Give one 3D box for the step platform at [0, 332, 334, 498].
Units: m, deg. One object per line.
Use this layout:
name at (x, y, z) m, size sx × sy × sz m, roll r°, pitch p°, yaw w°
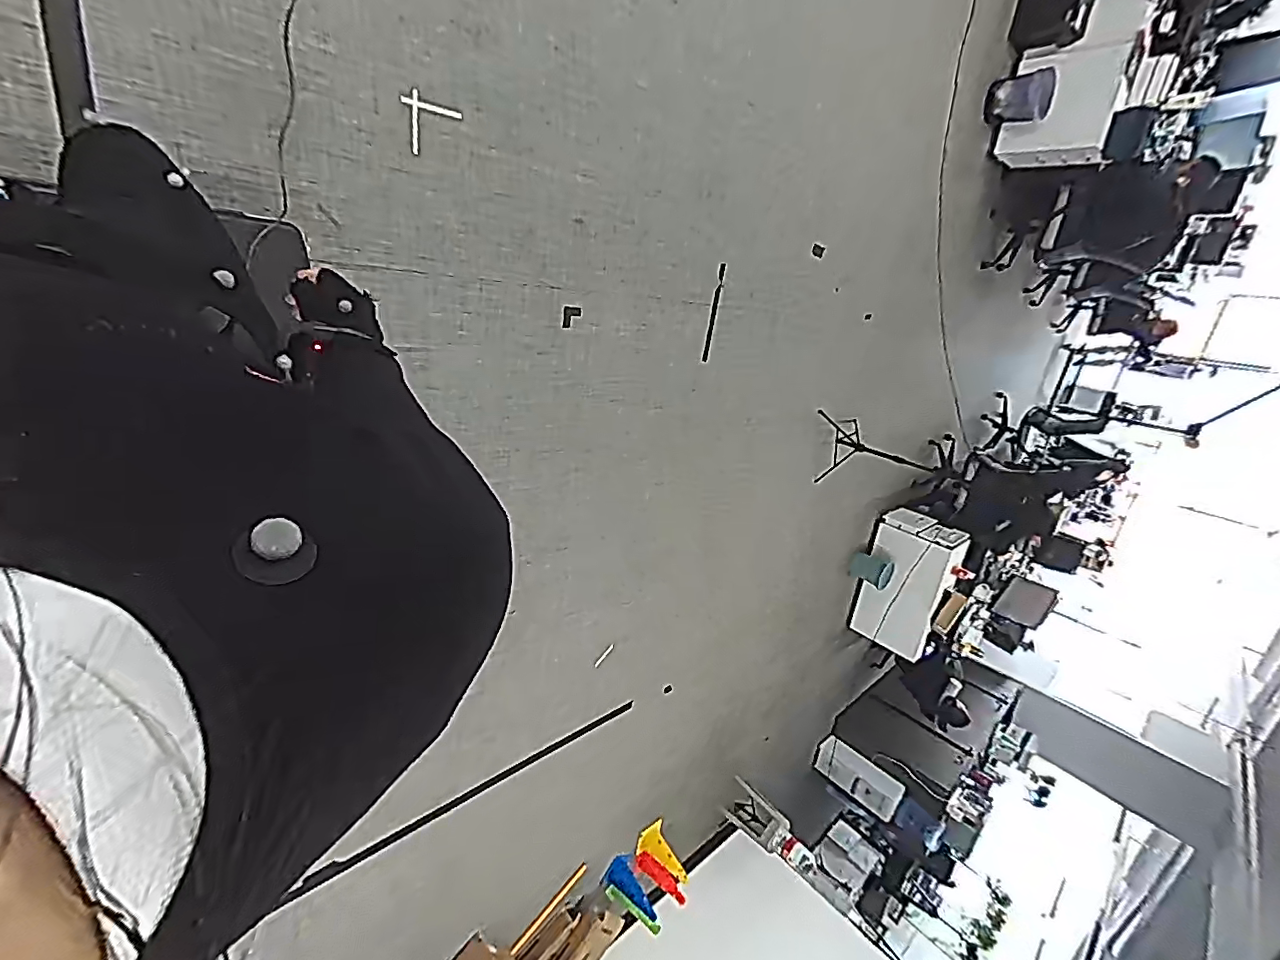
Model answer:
step platform at (-1.012, -0.151, 1.093) m, size 0.684 × 0.204 × 0.286 m, roll -11°, pitch 116°, yaw -41°
